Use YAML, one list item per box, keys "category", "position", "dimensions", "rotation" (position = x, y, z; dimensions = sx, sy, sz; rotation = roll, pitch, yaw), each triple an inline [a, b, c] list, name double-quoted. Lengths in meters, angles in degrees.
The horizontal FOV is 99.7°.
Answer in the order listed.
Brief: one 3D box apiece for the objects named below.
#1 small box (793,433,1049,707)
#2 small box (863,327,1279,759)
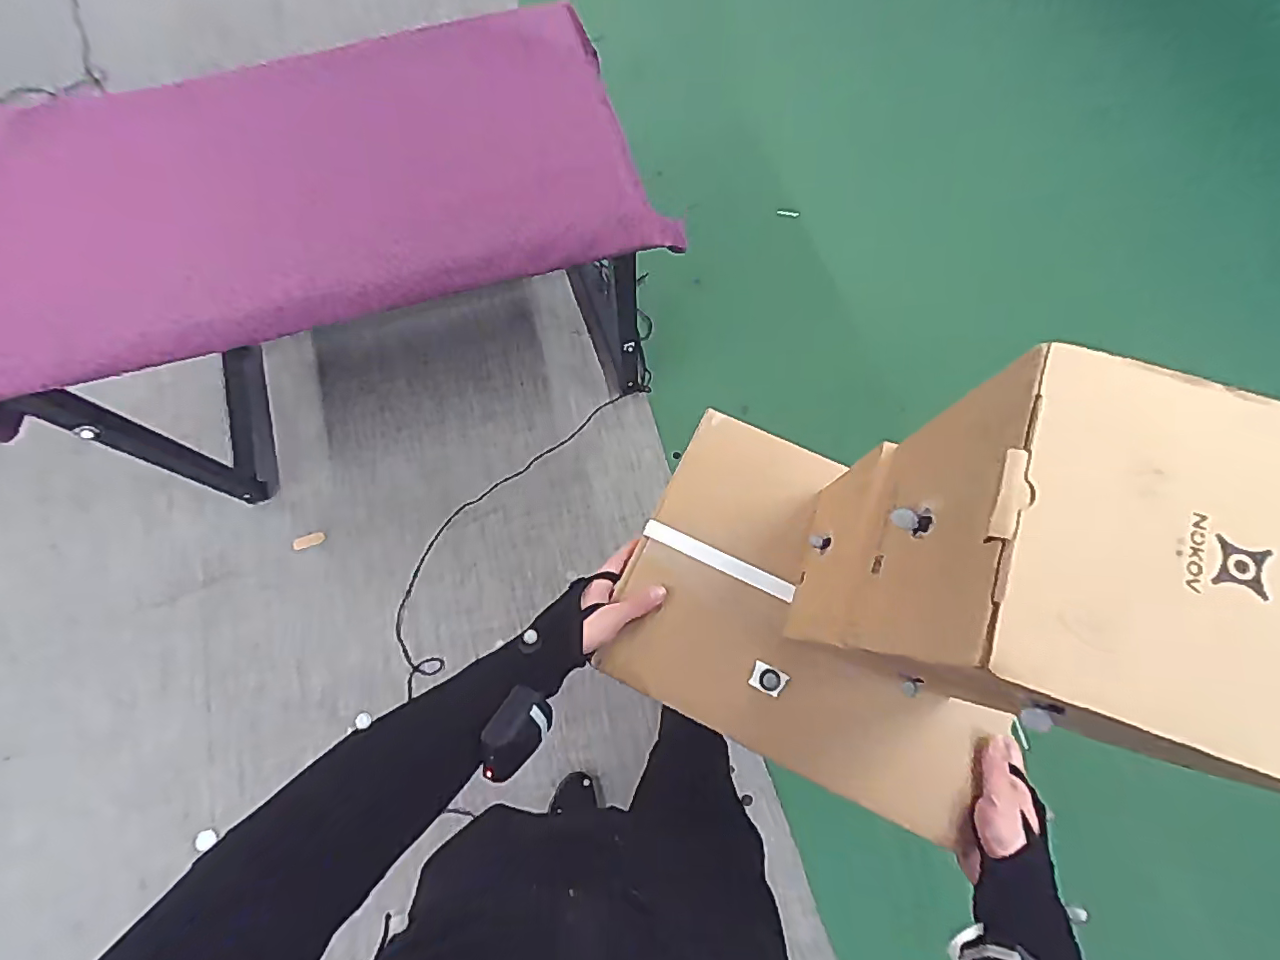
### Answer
- category: "small box"
  position: [0.253, 0.082, 0.479]
  dimensions: [0.179, 0.176, 0.168]
  rotation: [19, 78, 6]
- category: "small box"
  position: [0.257, 0.044, 0.319]
  dimensions: [0.179, 0.176, 0.168]
  rotation: [19, 77, 8]
